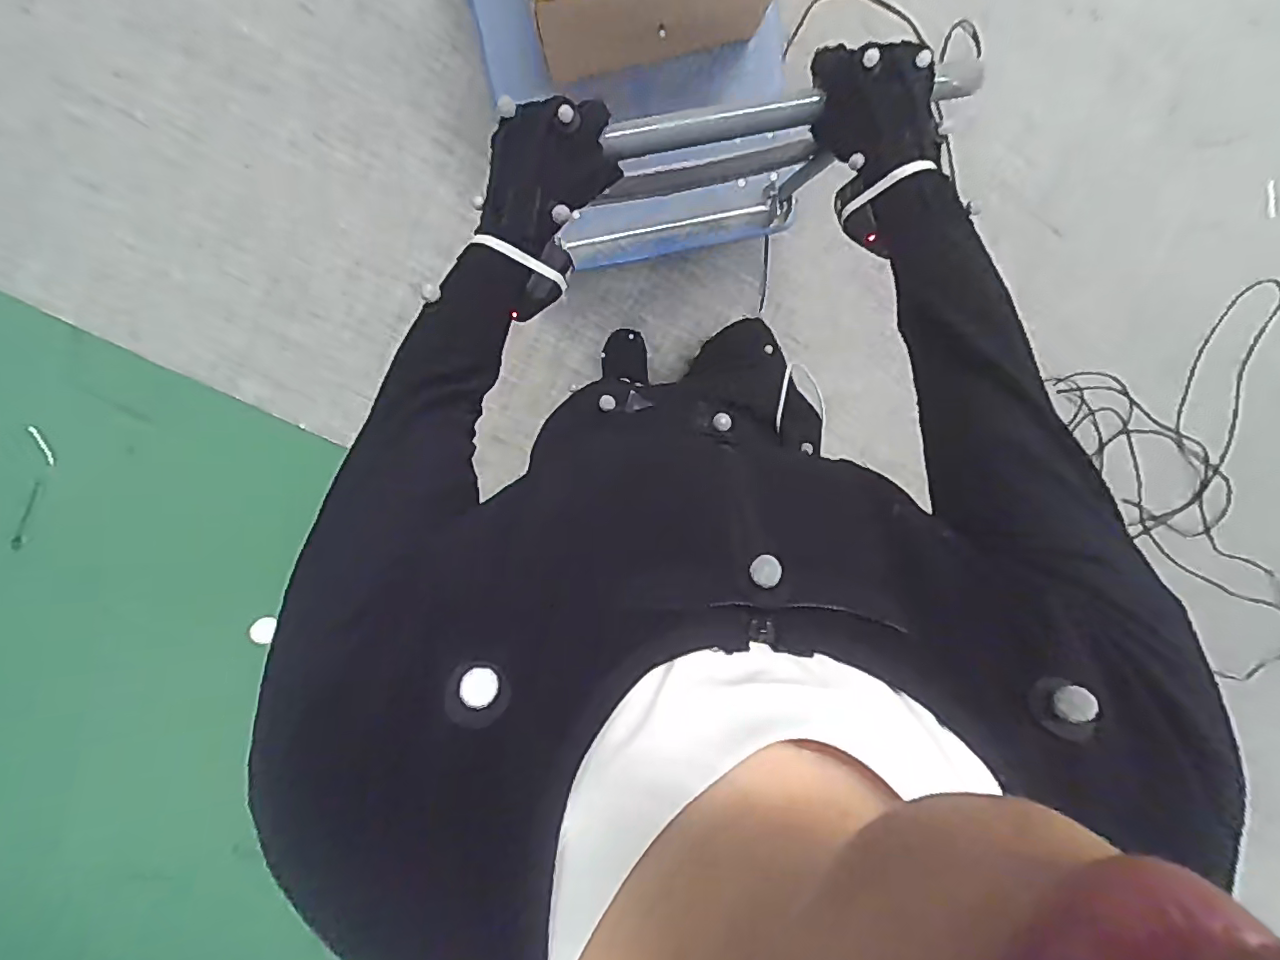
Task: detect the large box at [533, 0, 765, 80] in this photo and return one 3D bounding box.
[{"bbox_3d":[-0.001,-0.919,0.866,0.408,0.320,0.320,-14,107,1],"label":"large box"}]
